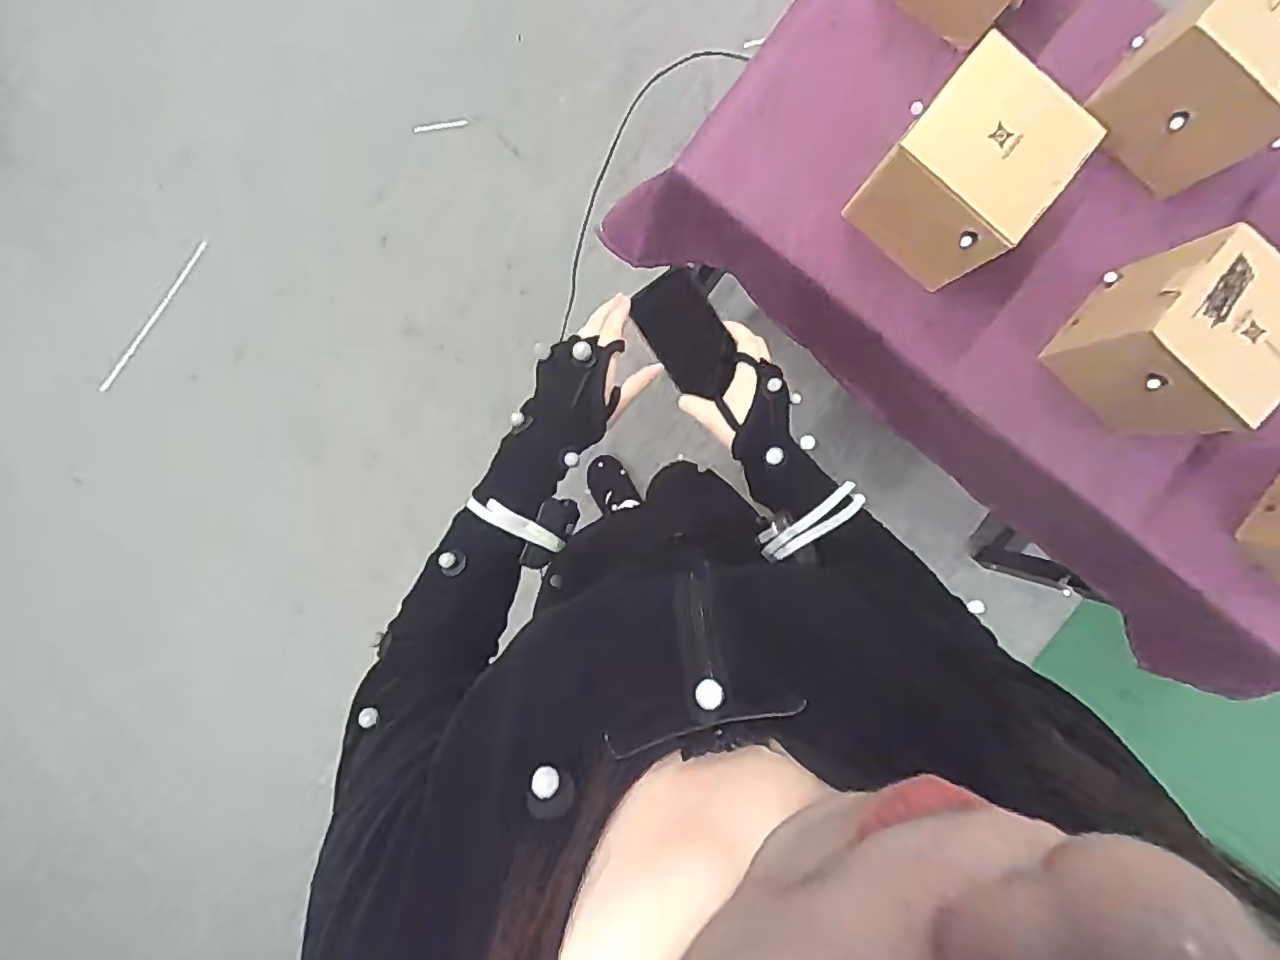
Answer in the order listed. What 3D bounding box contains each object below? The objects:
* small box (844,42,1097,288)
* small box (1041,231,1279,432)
[{"bbox_3d":[0.397,-0.377,0.686,0.179,0.176,0.168,39,90,-4],"label":"small box"},{"bbox_3d":[0.686,-0.174,0.703,0.179,0.176,0.168,41,90,-4],"label":"small box"}]
